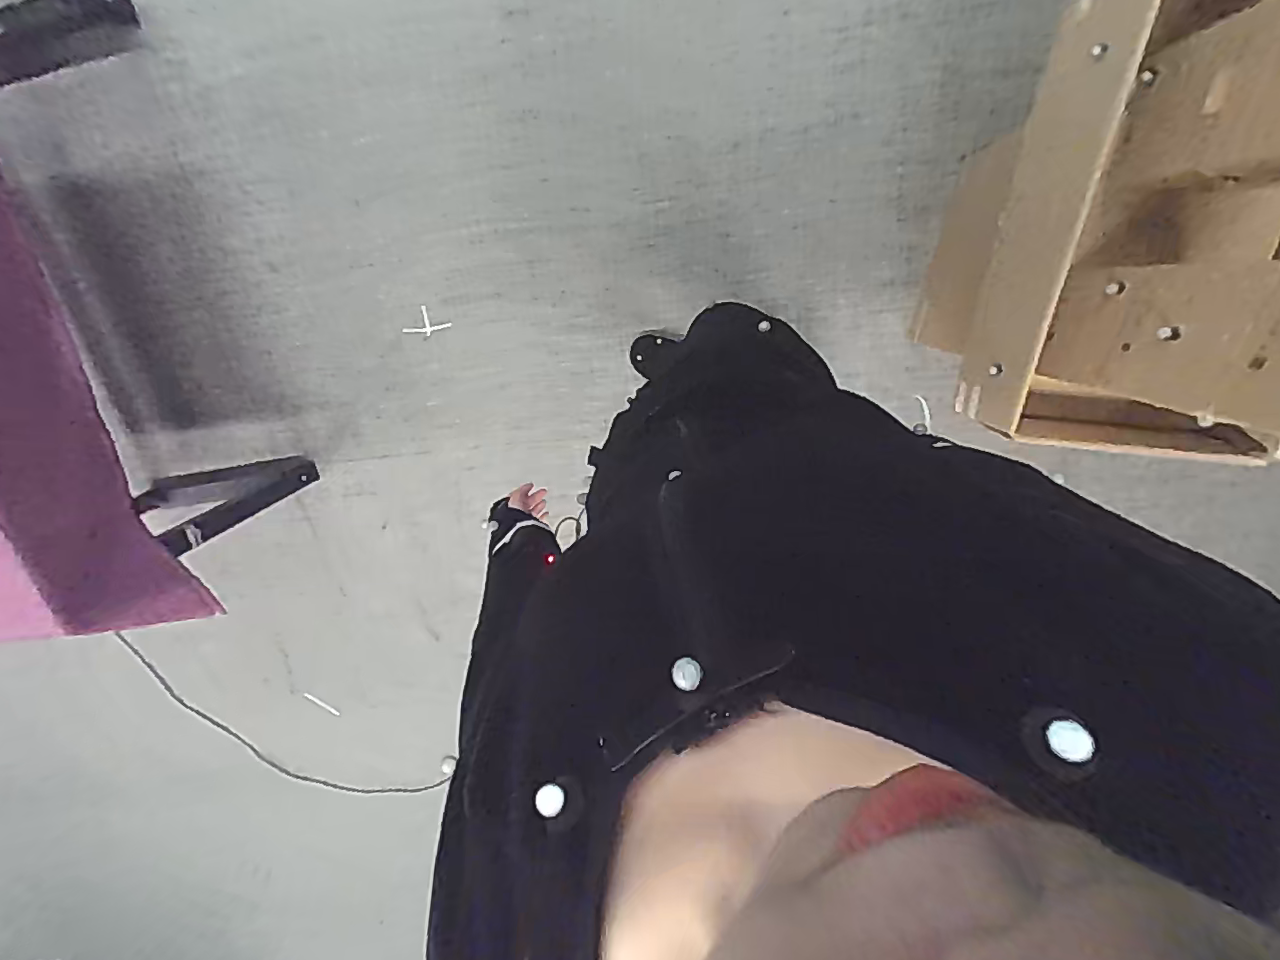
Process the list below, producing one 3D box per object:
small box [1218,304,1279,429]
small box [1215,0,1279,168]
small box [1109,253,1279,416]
[{"bbox_3d":[0.704,-0.103,0.480,0.179,0.176,0.168,13,112,0],"label":"small box"},{"bbox_3d":[0.751,-0.422,0.535,0.168,0.176,0.179,5,112,4],"label":"small box"},{"bbox_3d":[0.719,-0.159,0.633,0.179,0.176,0.168,12,111,2],"label":"small box"}]
